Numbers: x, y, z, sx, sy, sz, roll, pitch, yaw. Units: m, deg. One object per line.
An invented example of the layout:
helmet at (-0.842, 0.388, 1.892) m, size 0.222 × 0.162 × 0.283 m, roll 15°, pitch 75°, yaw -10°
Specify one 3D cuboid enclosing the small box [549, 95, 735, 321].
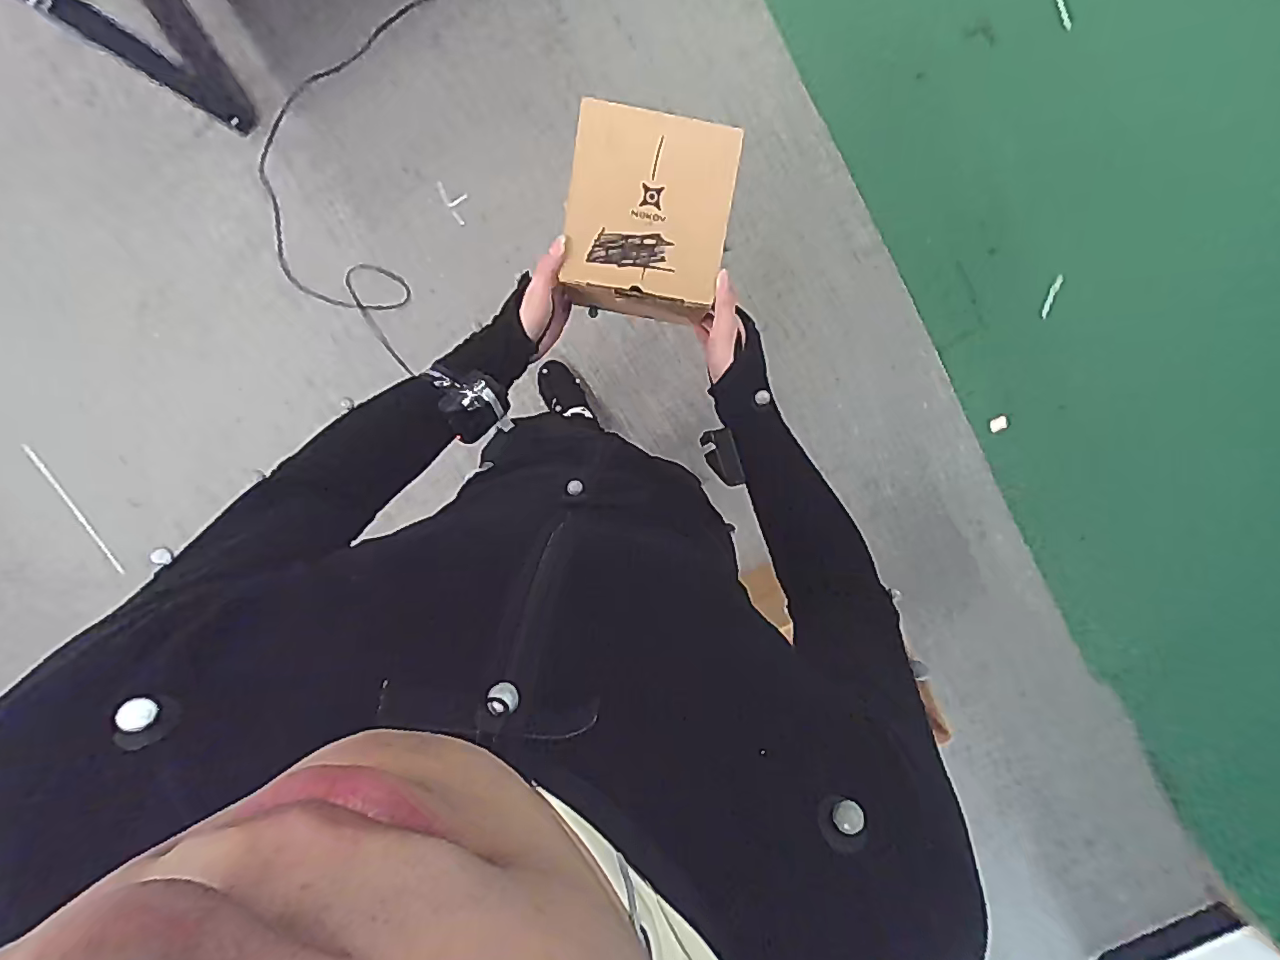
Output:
small box at (-0.002, -0.288, 0.616) m, size 0.168 × 0.176 × 0.179 m, roll 8°, pitch 98°, yaw -4°
